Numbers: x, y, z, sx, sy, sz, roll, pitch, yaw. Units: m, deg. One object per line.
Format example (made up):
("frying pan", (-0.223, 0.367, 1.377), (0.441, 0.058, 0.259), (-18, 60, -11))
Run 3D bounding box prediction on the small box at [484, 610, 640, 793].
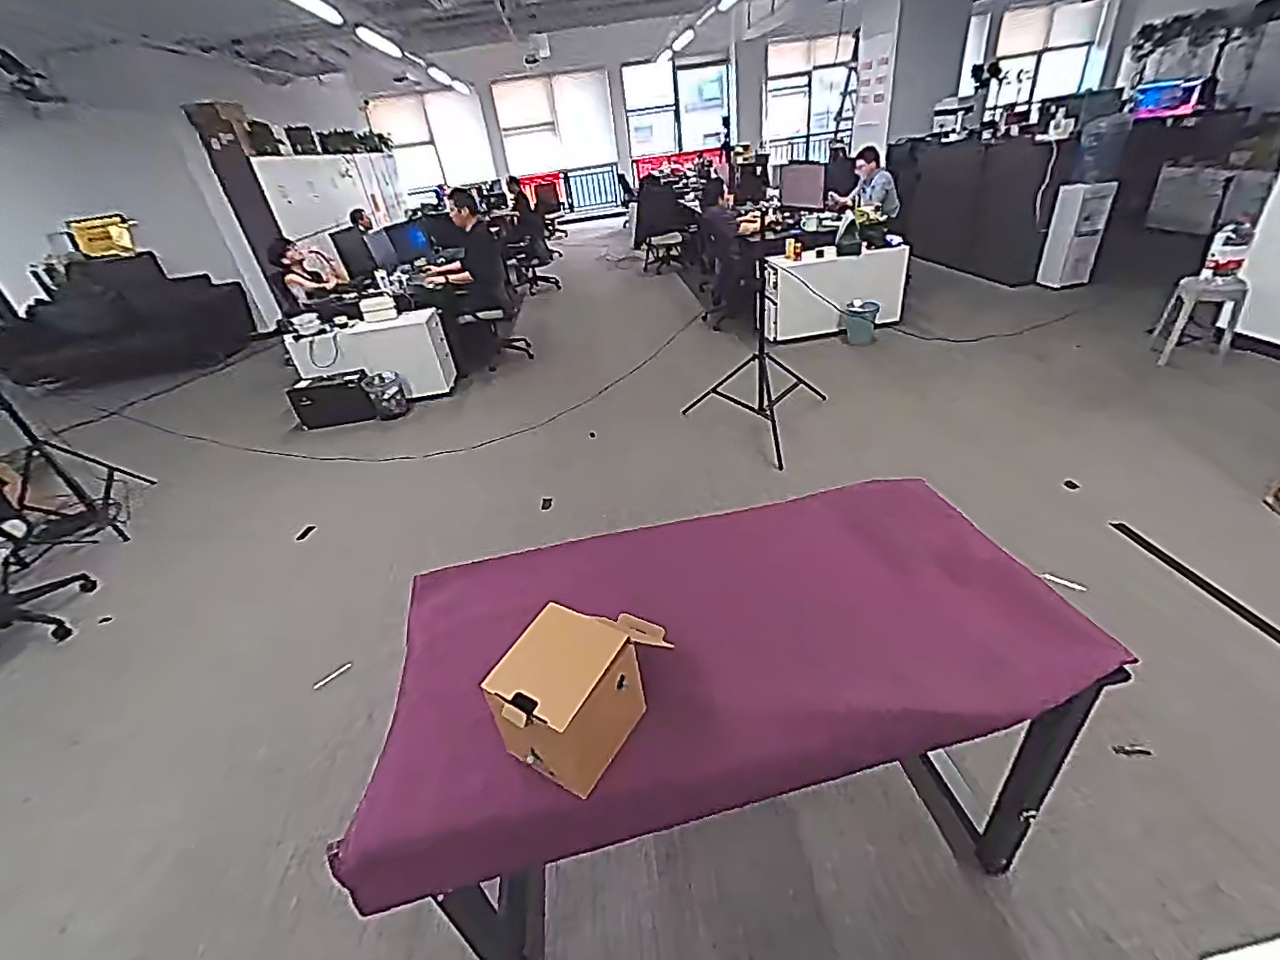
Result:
("small box", (-0.113, 0.347, 0.864), (0.168, 0.176, 0.179), (12, 37, 32))
